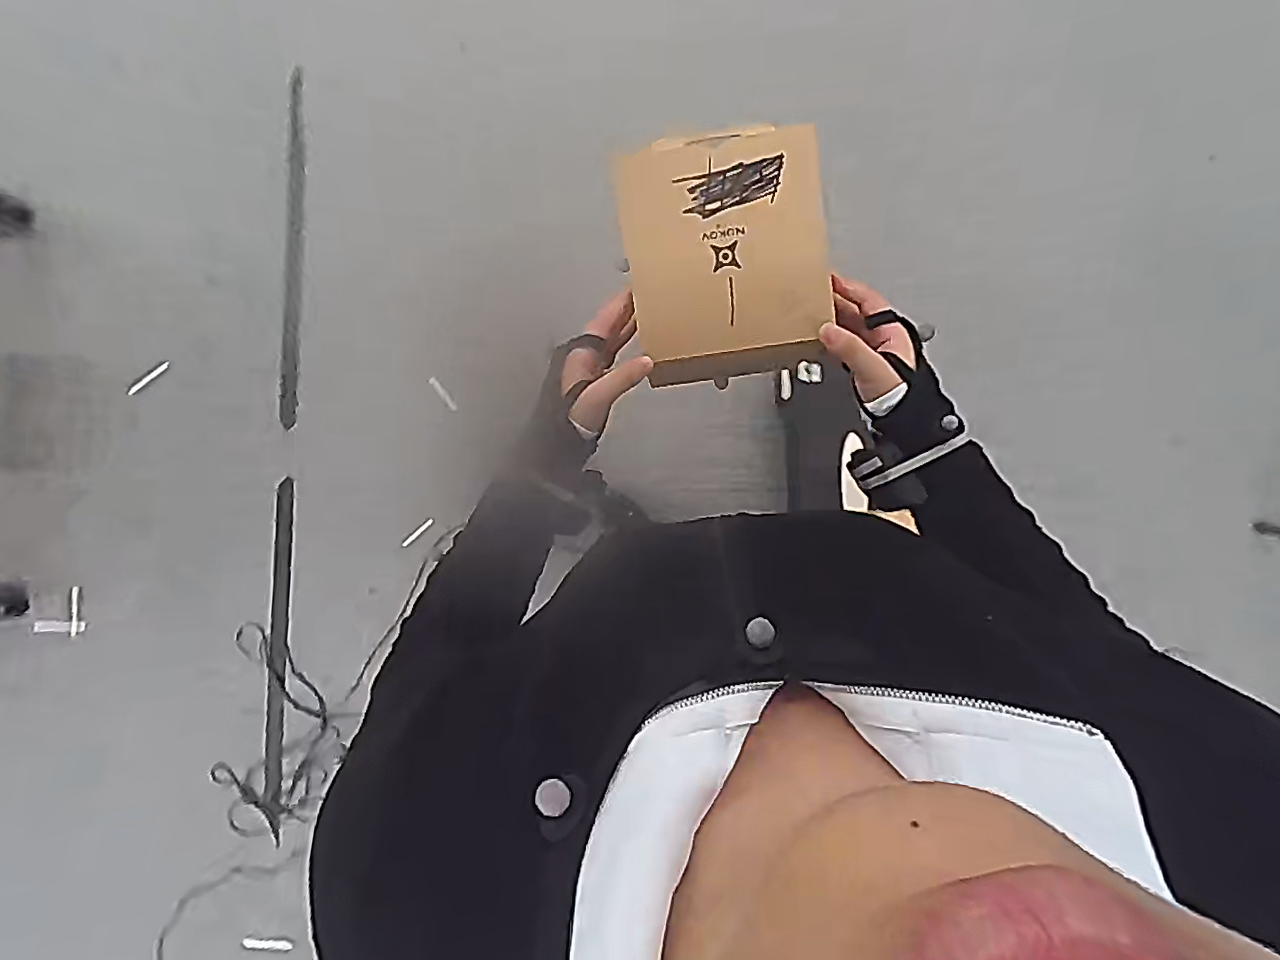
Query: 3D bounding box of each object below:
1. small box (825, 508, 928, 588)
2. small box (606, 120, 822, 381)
[{"bbox_3d":[0.519,0.147,1.215,0.179,0.176,0.168,-2,88,2],"label":"small box"},{"bbox_3d":[0.066,-0.206,0.534,0.168,0.176,0.179,-8,93,5],"label":"small box"}]
